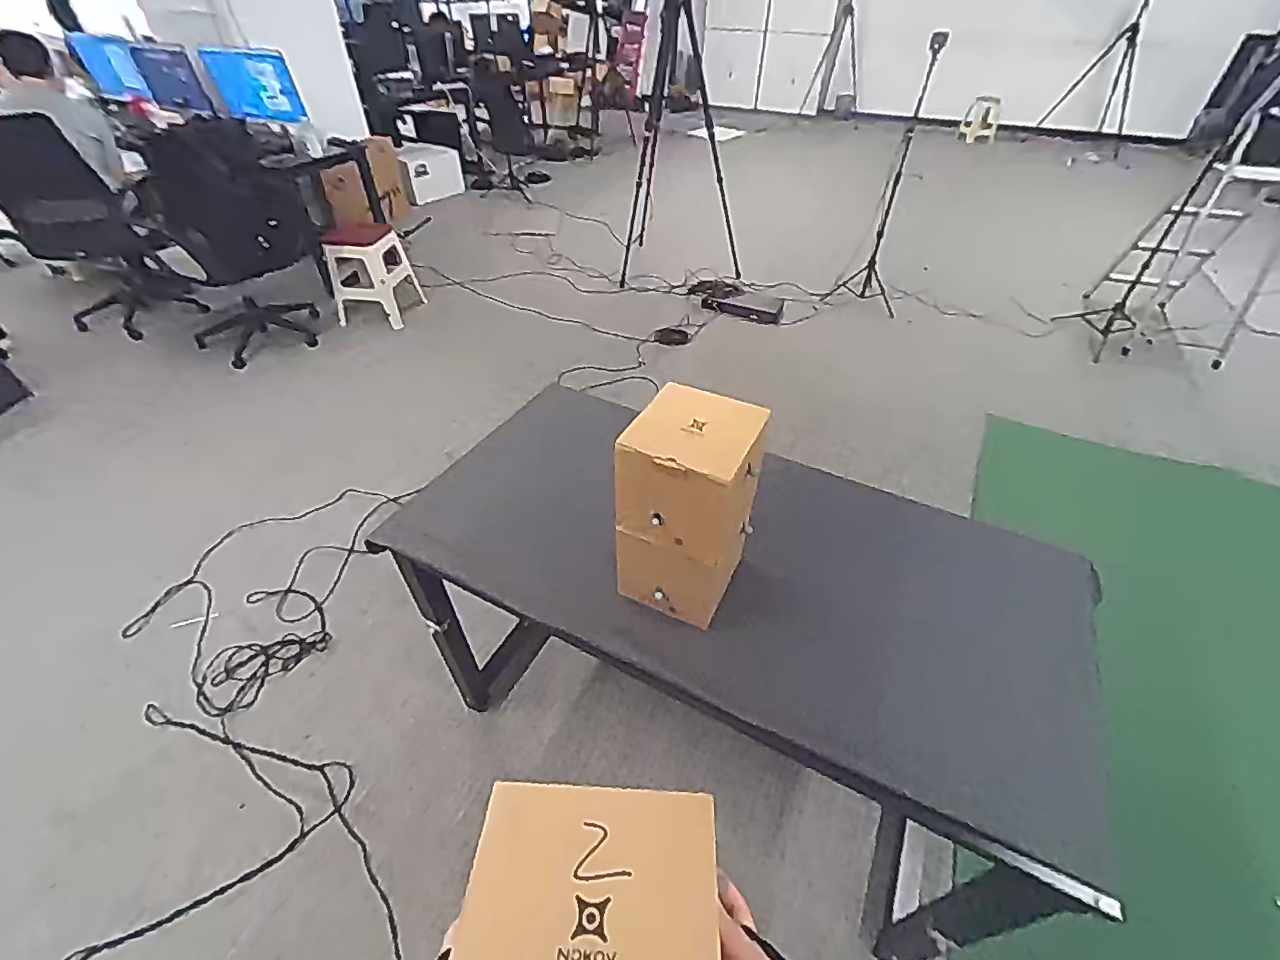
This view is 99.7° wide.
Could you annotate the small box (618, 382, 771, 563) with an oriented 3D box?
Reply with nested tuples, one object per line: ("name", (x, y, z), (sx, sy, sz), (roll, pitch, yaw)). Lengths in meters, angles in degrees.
("small box", (0.077, -0.013, 0.796), (0.168, 0.176, 0.179), (19, 45, 19))

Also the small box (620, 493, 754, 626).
("small box", (0.075, 0.107, 0.905), (0.168, 0.176, 0.179), (19, 45, 20))
